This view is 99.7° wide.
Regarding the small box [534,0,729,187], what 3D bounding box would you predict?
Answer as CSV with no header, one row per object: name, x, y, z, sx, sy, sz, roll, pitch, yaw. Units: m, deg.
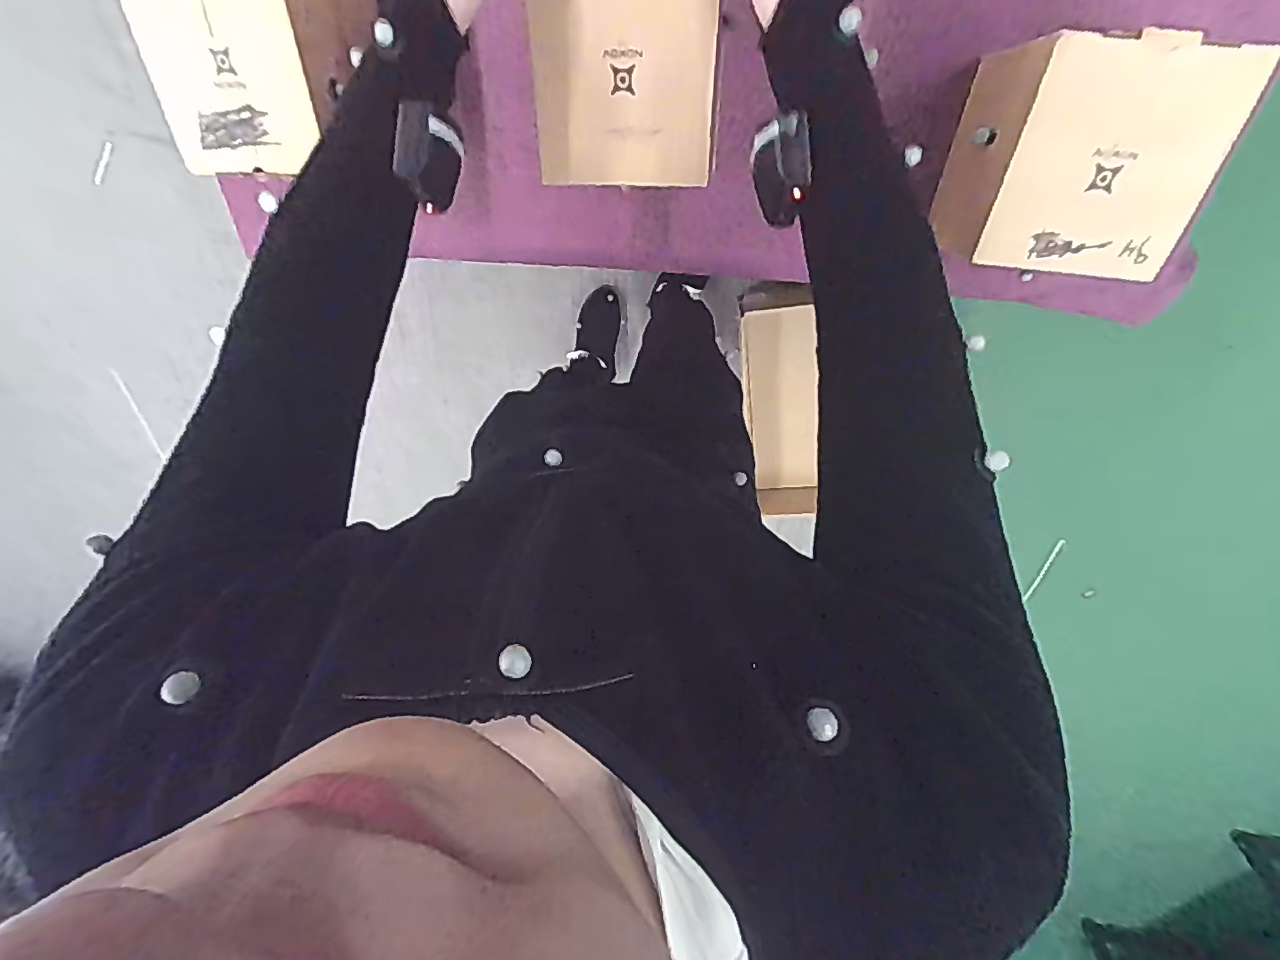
small box,0.000,-0.403,0.544,0.168,0.176,0.179,5,123,7

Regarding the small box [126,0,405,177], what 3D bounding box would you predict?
small box,-0.381,-0.435,0.585,0.168,0.176,0.179,4,122,6

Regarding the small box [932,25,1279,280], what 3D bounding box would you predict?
small box,0.416,-0.311,0.530,0.168,0.176,0.179,9,122,6
